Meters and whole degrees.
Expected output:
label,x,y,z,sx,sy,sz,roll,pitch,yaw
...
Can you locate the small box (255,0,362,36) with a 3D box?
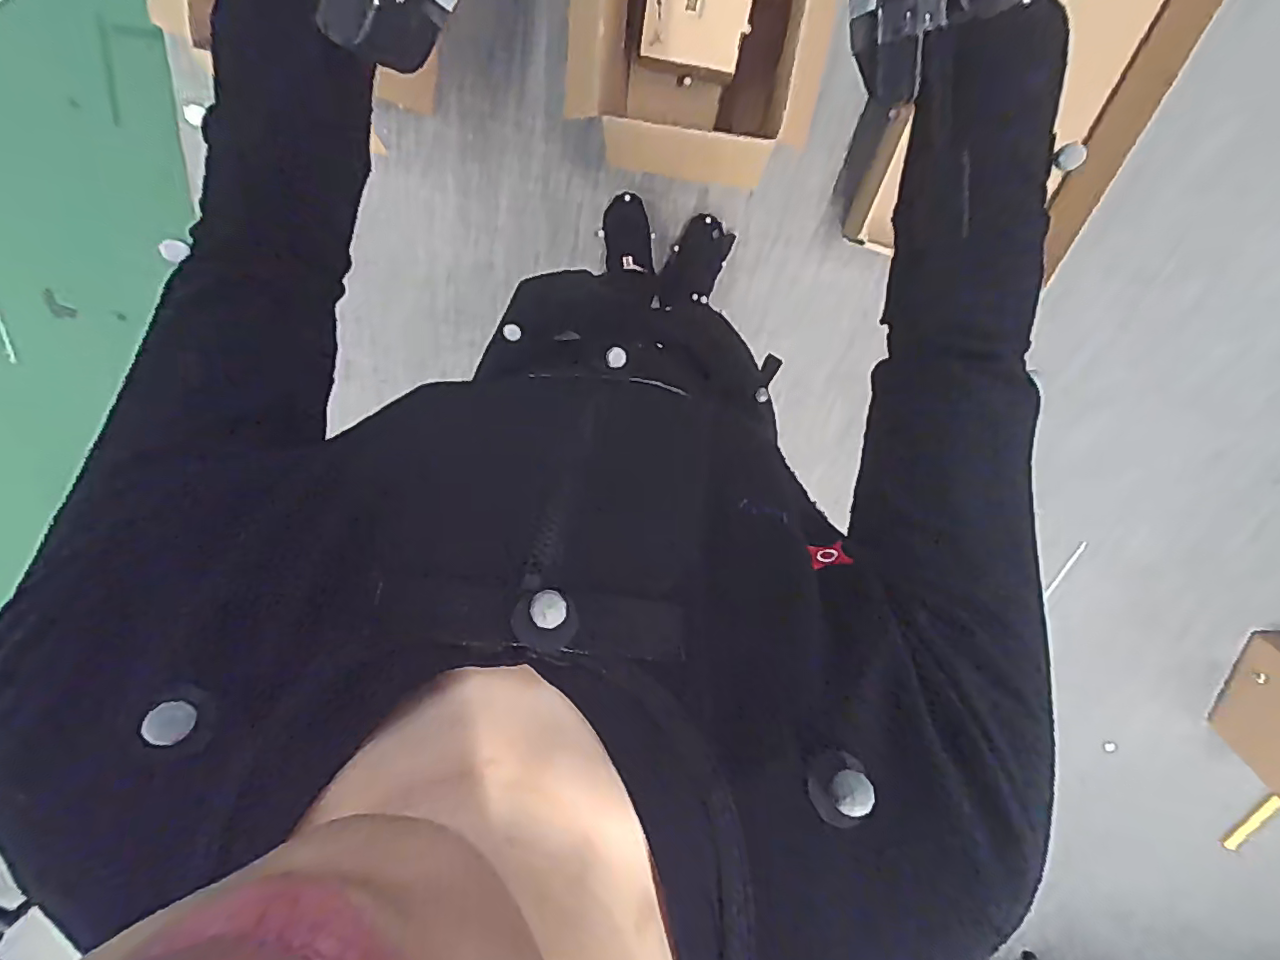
label,x,y,z,sx,sy,sz,roll,pitch,yaw
small box,-0.574,-0.869,0.887,0.179,0.176,0.168,17,116,-4
